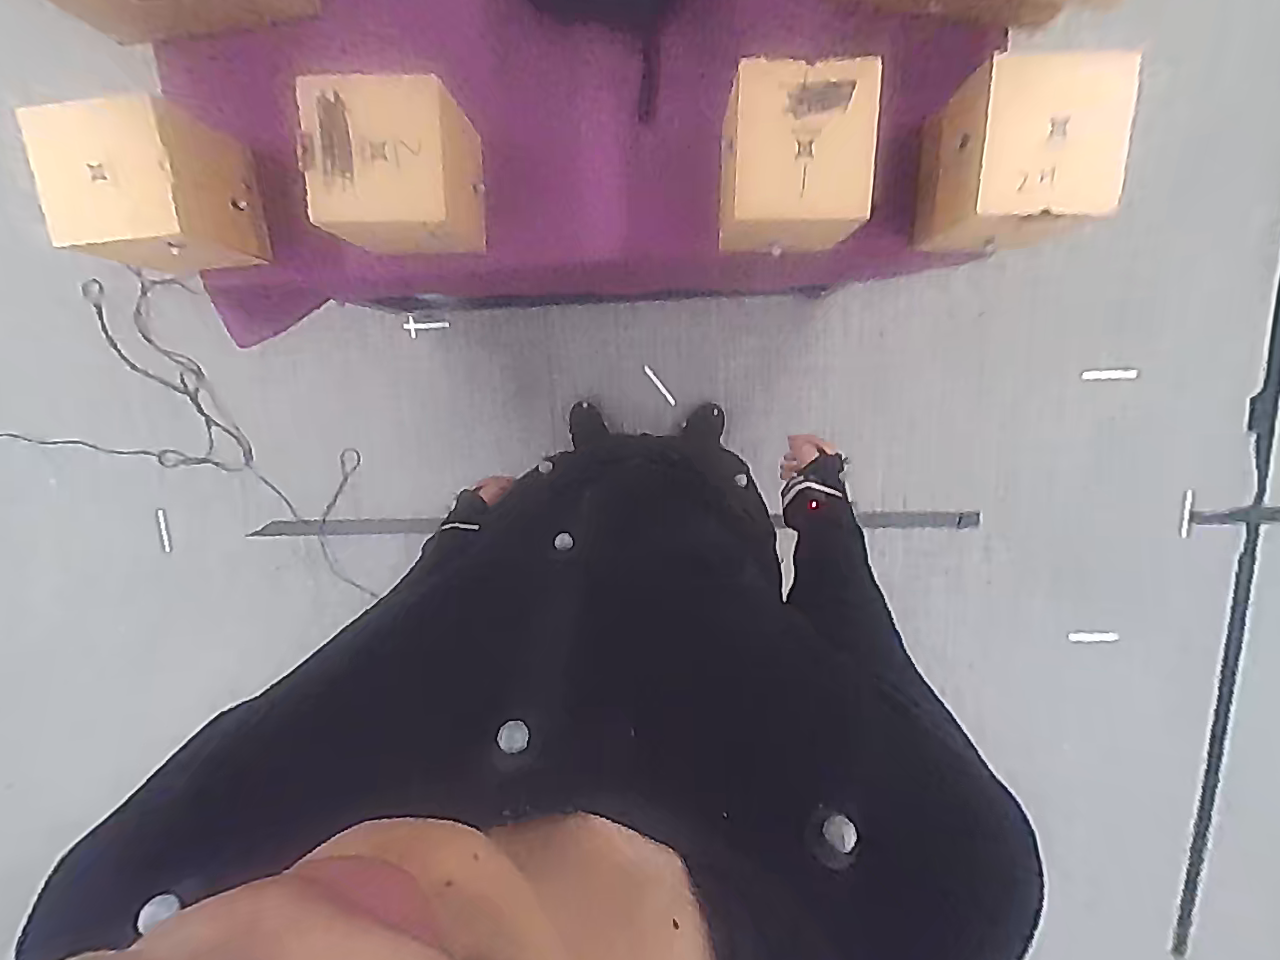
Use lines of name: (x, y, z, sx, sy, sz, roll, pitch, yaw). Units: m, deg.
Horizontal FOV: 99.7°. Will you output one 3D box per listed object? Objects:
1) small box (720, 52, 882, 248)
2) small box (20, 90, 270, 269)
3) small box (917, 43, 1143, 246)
small box: (0.198, -0.419, 0.713, 0.168, 0.176, 0.179, 1, 101, 2)
small box: (-0.666, -0.400, 0.751, 0.179, 0.176, 0.168, -5, 100, 2)
small box: (0.482, -0.418, 0.699, 0.168, 0.176, 0.179, 1, 100, 3)
